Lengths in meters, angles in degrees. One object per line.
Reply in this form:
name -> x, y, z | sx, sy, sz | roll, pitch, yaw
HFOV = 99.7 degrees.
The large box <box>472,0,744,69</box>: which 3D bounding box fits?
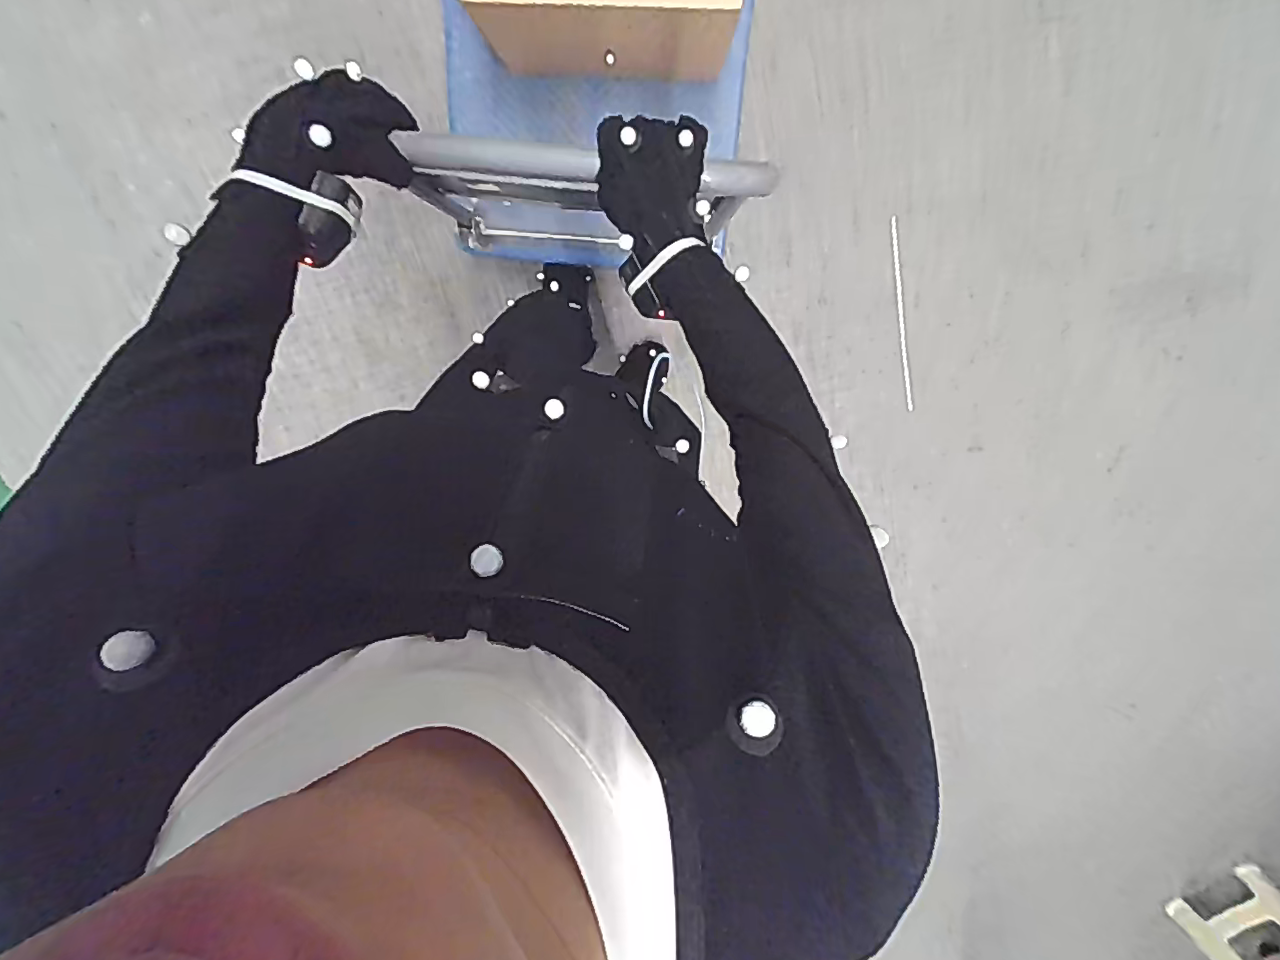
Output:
large box -> -0.040, -0.884, 0.856 | 0.408, 0.320, 0.320 | 2, 111, 1
